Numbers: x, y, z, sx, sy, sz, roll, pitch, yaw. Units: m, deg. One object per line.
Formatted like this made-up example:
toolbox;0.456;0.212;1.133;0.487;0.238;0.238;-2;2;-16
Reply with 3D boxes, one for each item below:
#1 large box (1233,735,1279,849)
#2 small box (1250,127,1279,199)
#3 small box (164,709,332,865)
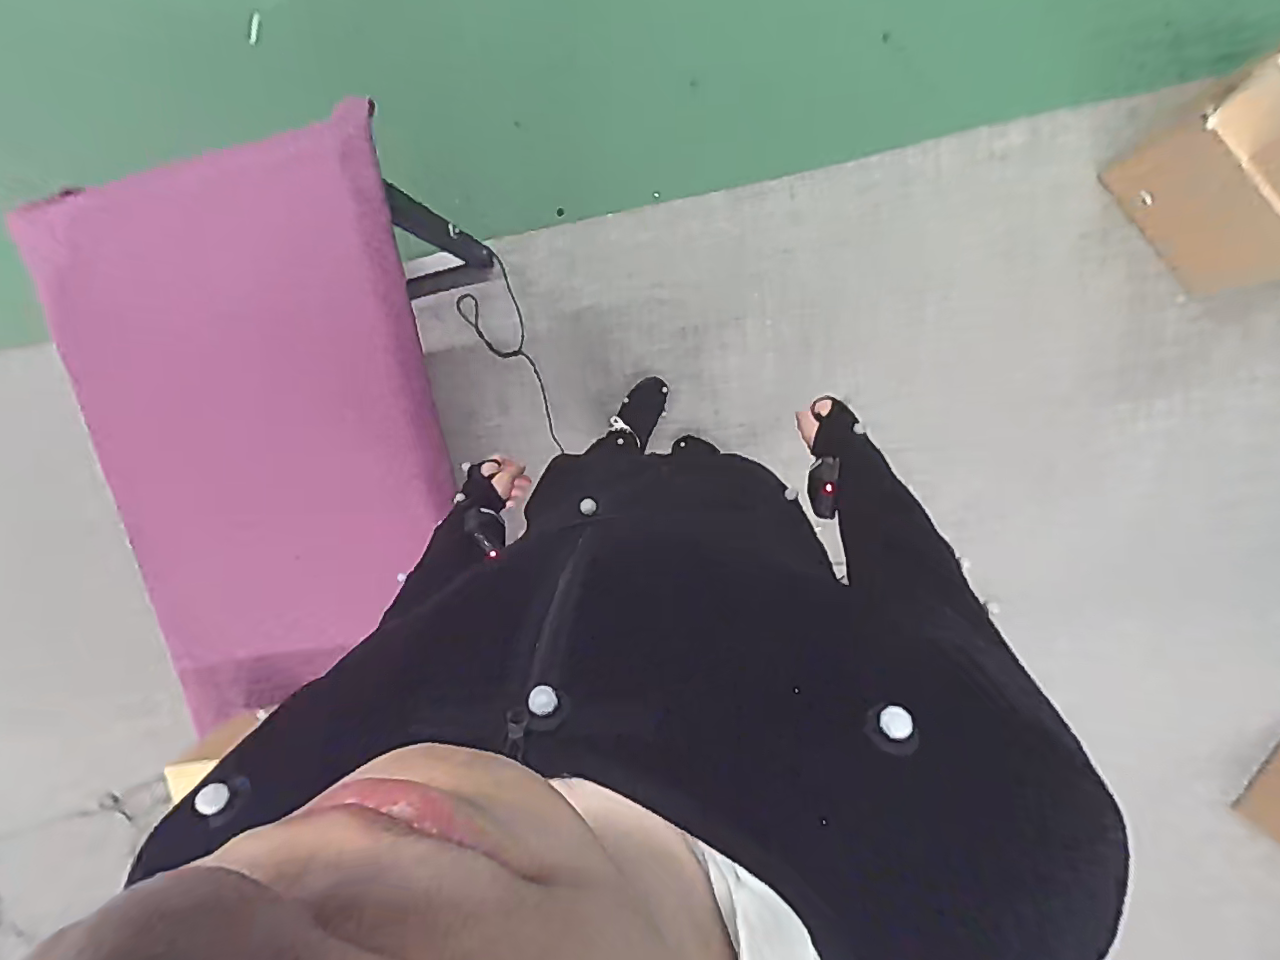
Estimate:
large box;1.992;0.902;1.461;0.320;0.320;0.408;21;100;0
small box;1.327;-0.627;0.999;0.168;0.176;0.179;-41;94;11
small box;-0.683;0.544;0.972;0.168;0.176;0.179;-10;98;6
